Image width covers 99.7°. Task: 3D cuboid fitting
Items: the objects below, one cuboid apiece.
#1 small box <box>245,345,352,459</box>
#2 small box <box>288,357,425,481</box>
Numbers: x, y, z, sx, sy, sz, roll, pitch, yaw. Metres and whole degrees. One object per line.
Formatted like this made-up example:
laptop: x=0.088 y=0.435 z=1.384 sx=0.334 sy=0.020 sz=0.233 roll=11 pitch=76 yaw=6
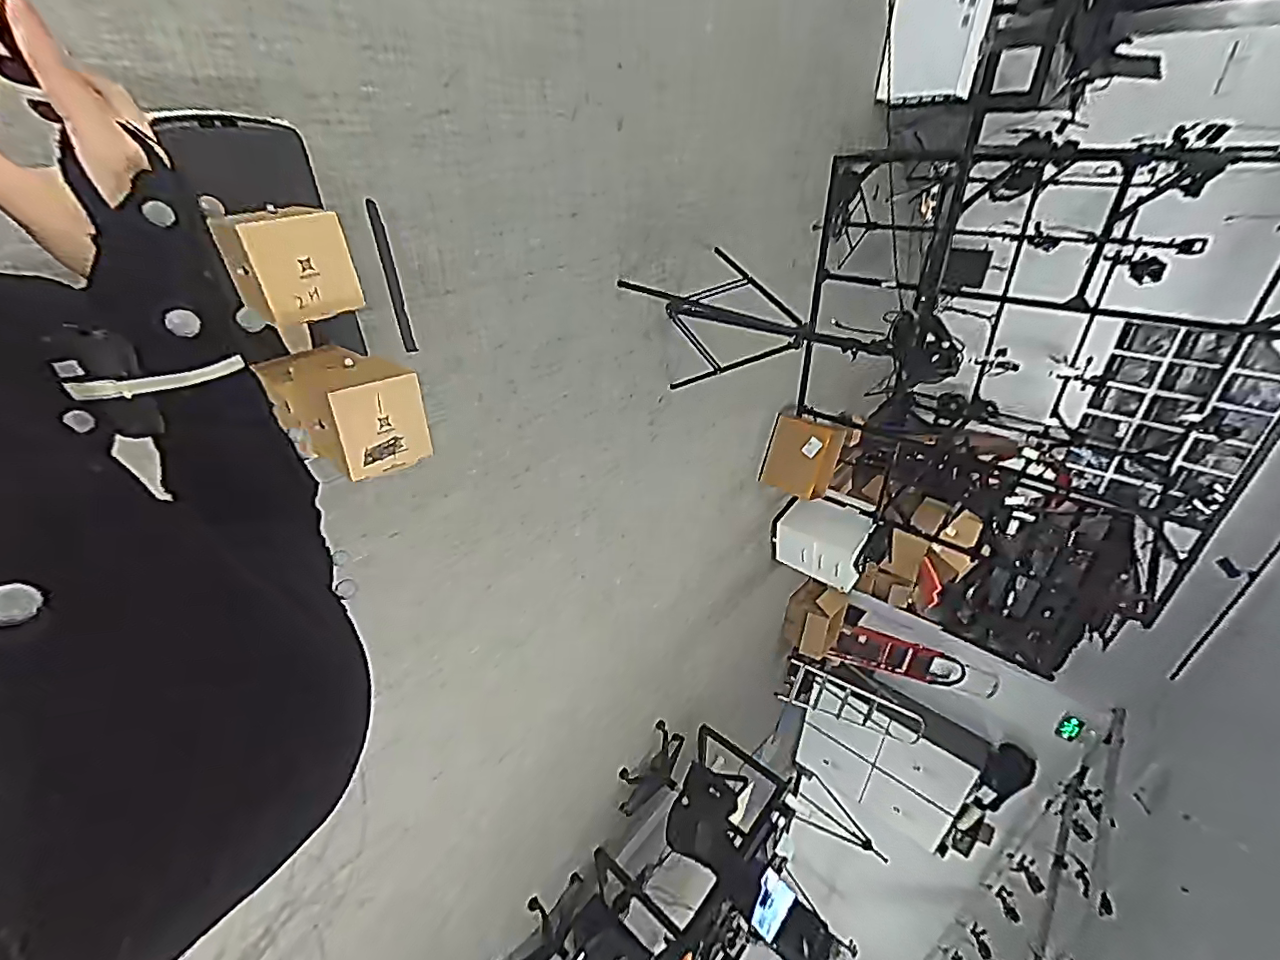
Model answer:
small box: x=-0.682 y=-0.172 z=1.139 sx=0.179 sy=0.176 sz=0.168 roll=-33 pitch=134 yaw=-38
small box: x=-0.548 y=-0.127 z=1.054 sx=0.168 sy=0.176 sz=0.179 roll=-28 pitch=130 yaw=-42
